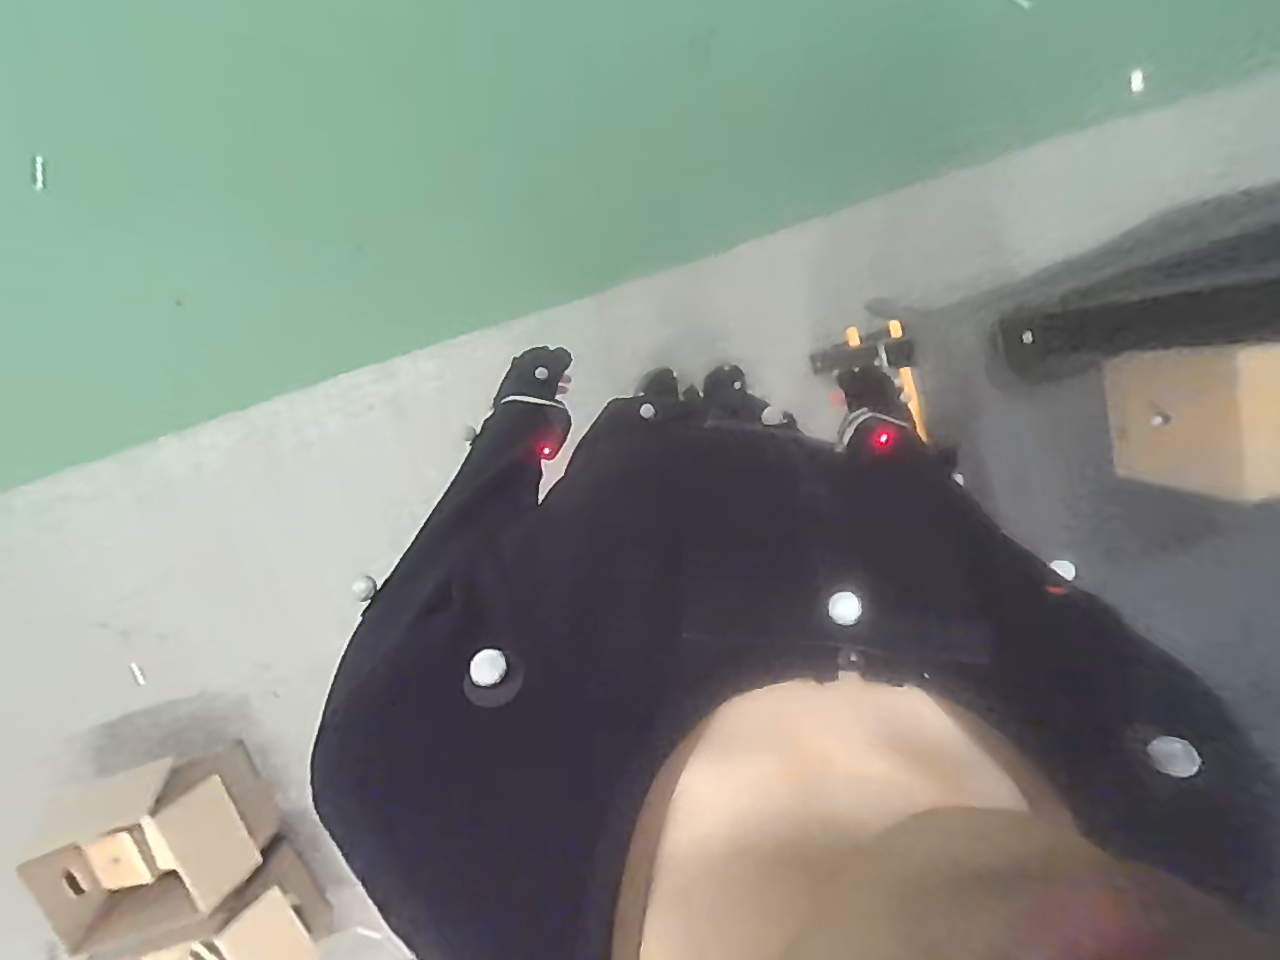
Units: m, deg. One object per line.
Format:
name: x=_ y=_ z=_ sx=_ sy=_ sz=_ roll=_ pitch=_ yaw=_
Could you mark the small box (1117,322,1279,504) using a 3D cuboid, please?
small box: x=0.707 y=-0.085 z=0.630 sx=0.179 sy=0.176 sz=0.168 roll=-15 pitch=101 yaw=3
